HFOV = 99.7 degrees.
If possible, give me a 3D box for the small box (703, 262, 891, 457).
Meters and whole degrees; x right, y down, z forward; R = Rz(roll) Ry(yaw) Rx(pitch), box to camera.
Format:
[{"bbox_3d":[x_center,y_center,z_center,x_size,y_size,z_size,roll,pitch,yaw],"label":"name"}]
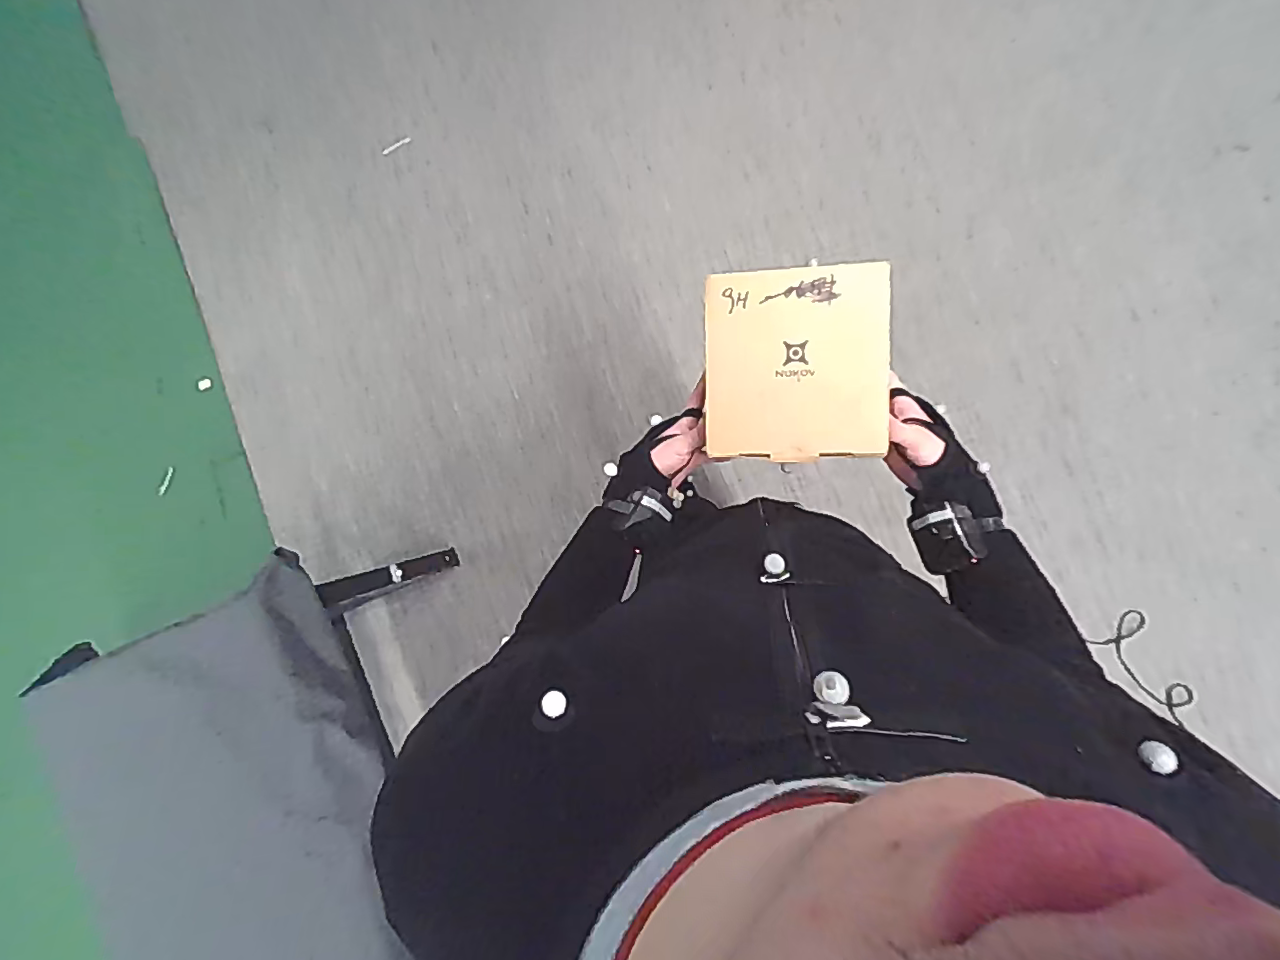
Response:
[{"bbox_3d":[0.157,-0.115,0.578,0.168,0.176,0.179,1,93,10],"label":"small box"}]
